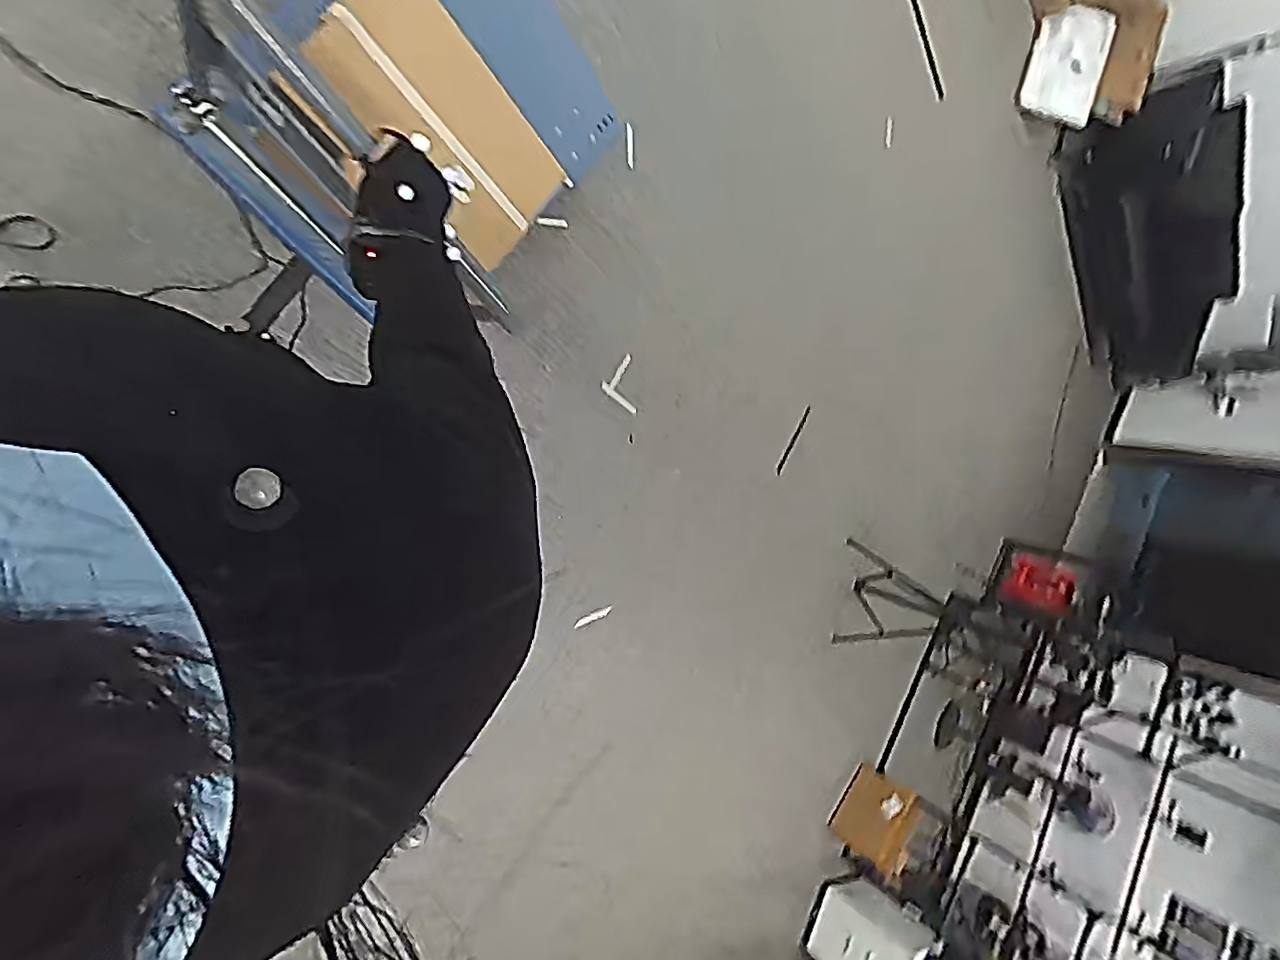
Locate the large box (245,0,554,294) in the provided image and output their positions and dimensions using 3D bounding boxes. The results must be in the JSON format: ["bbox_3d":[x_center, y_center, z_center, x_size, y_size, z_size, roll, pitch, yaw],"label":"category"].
[{"bbox_3d":[-0.462,-0.633,1.063,0.408,0.320,0.320,44,72,-38],"label":"large box"}]
